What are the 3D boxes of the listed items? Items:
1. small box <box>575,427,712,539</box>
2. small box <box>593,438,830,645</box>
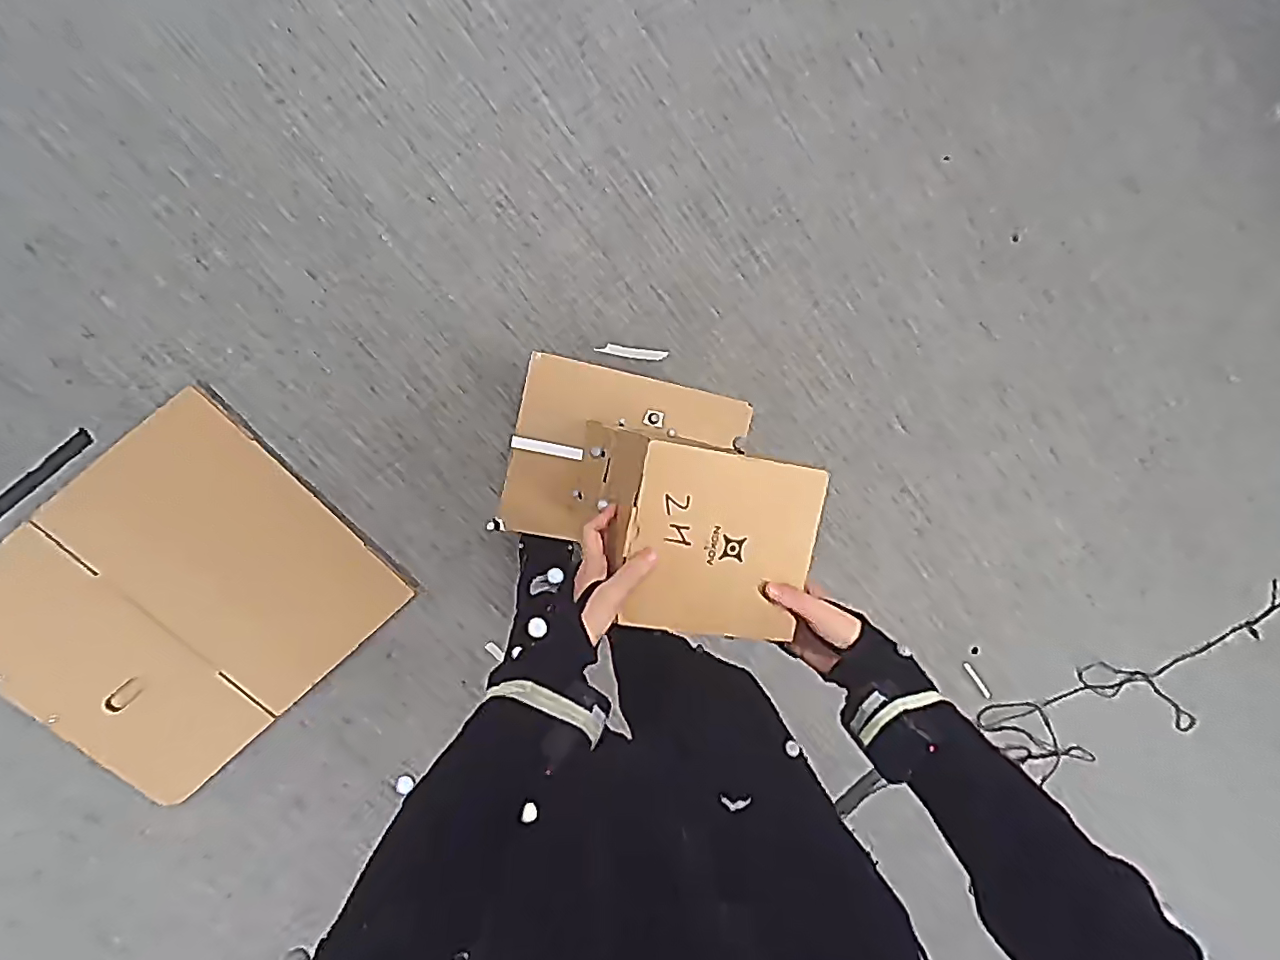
[{"bbox_3d":[-0.005,0.008,0.877,0.179,0.176,0.168,9,96,-13],"label":"small box"},{"bbox_3d":[0.059,0.052,0.556,0.179,0.176,0.168,10,95,-13],"label":"small box"}]
